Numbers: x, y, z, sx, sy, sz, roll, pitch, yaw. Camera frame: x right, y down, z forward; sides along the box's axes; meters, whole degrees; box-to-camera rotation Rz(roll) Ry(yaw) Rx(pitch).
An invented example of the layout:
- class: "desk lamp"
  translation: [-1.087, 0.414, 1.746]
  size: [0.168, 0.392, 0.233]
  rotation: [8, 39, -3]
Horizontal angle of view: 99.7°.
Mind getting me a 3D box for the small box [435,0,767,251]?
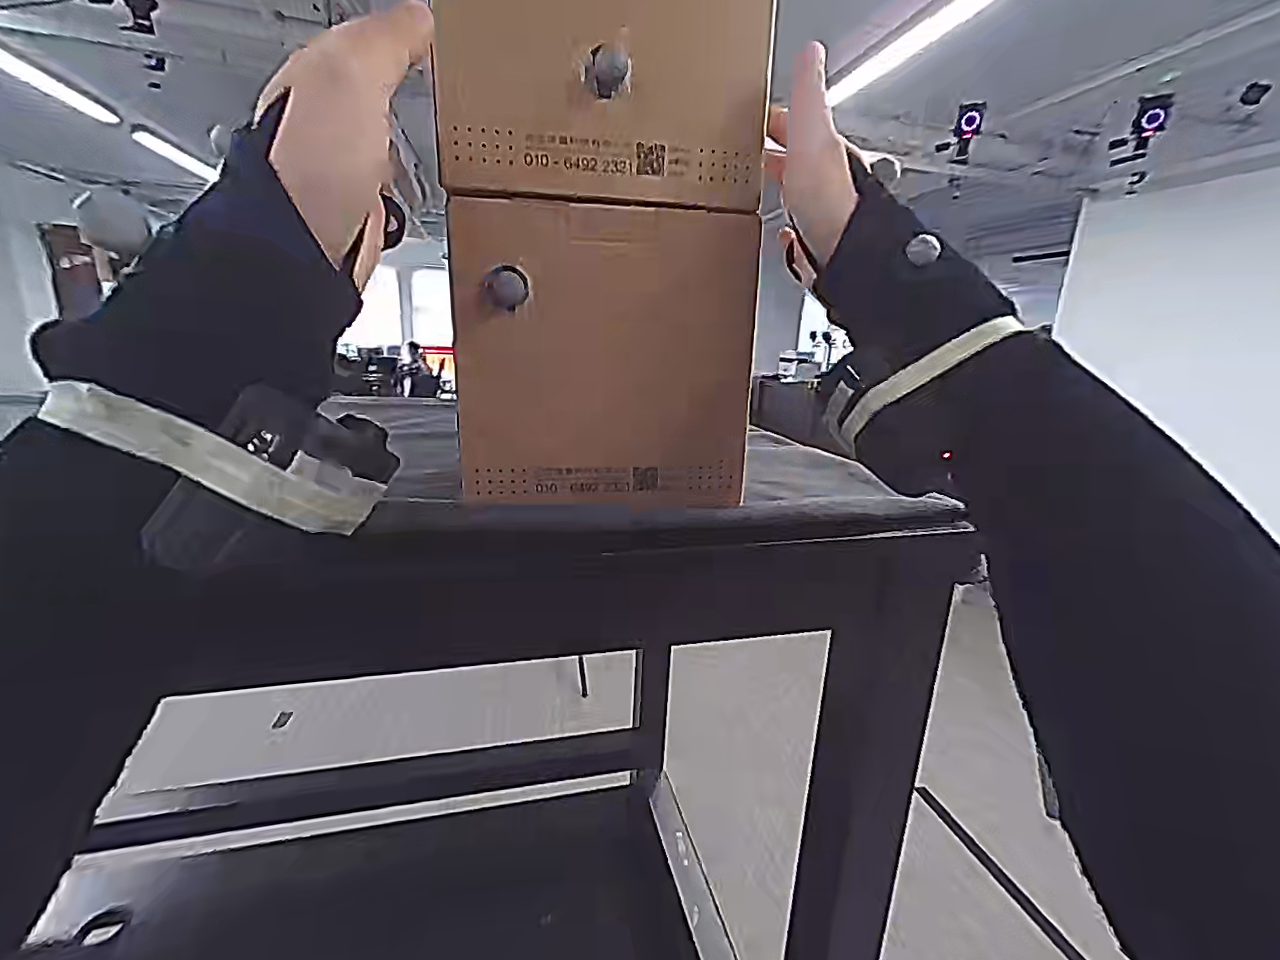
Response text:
- class: "small box"
  translation: [-0.030, -0.243, 0.340]
  size: [0.168, 0.176, 0.179]
  rotation: [-2, 15, -10]
